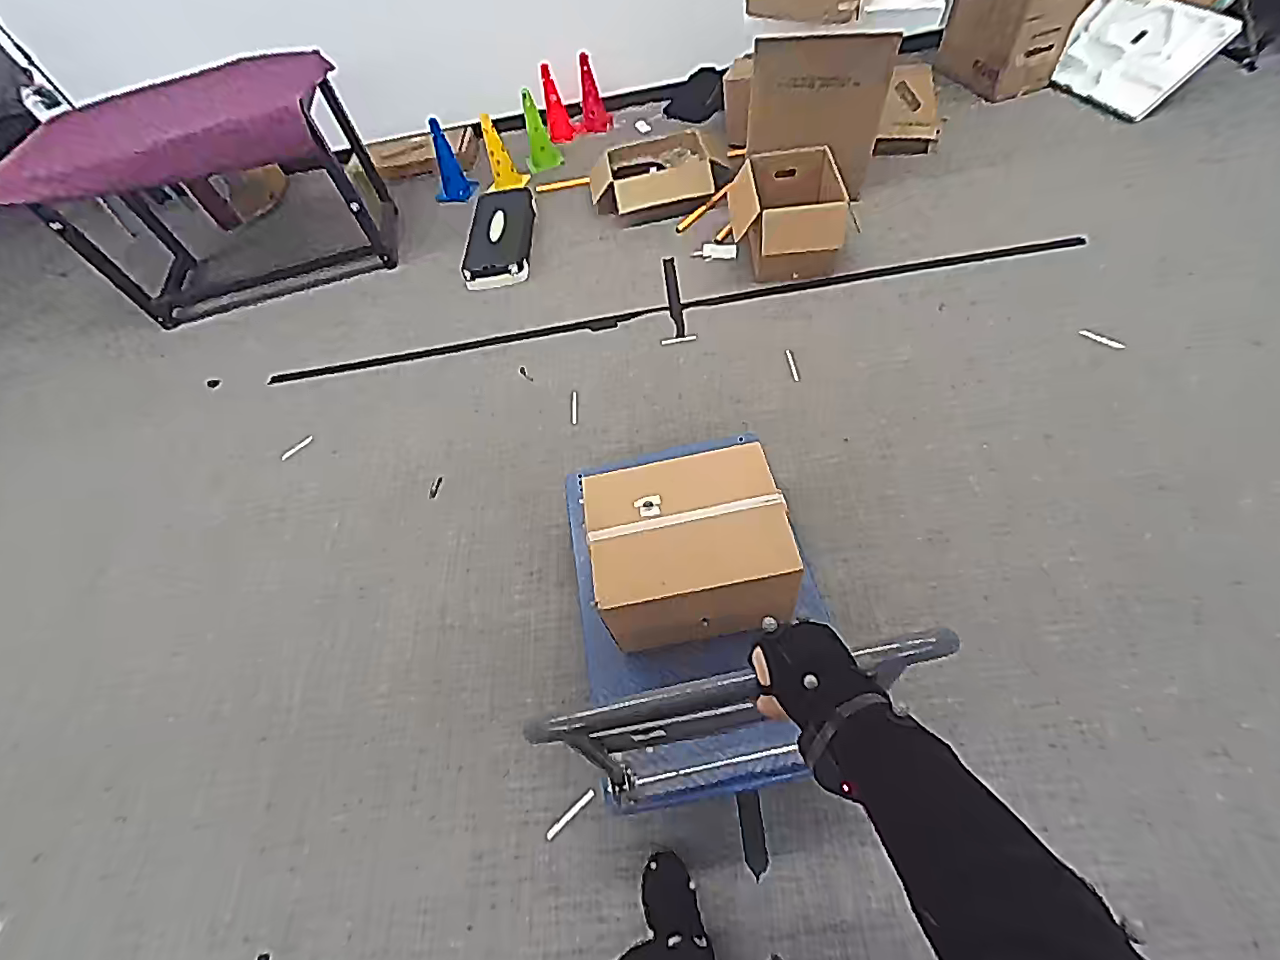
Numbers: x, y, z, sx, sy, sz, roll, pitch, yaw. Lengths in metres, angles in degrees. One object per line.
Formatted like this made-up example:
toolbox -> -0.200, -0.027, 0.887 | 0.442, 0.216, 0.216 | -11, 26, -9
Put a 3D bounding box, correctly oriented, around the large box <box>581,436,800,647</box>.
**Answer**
large box -> 0.110, 0.151, 1.228 | 0.408, 0.320, 0.320 | -13, 55, 3
